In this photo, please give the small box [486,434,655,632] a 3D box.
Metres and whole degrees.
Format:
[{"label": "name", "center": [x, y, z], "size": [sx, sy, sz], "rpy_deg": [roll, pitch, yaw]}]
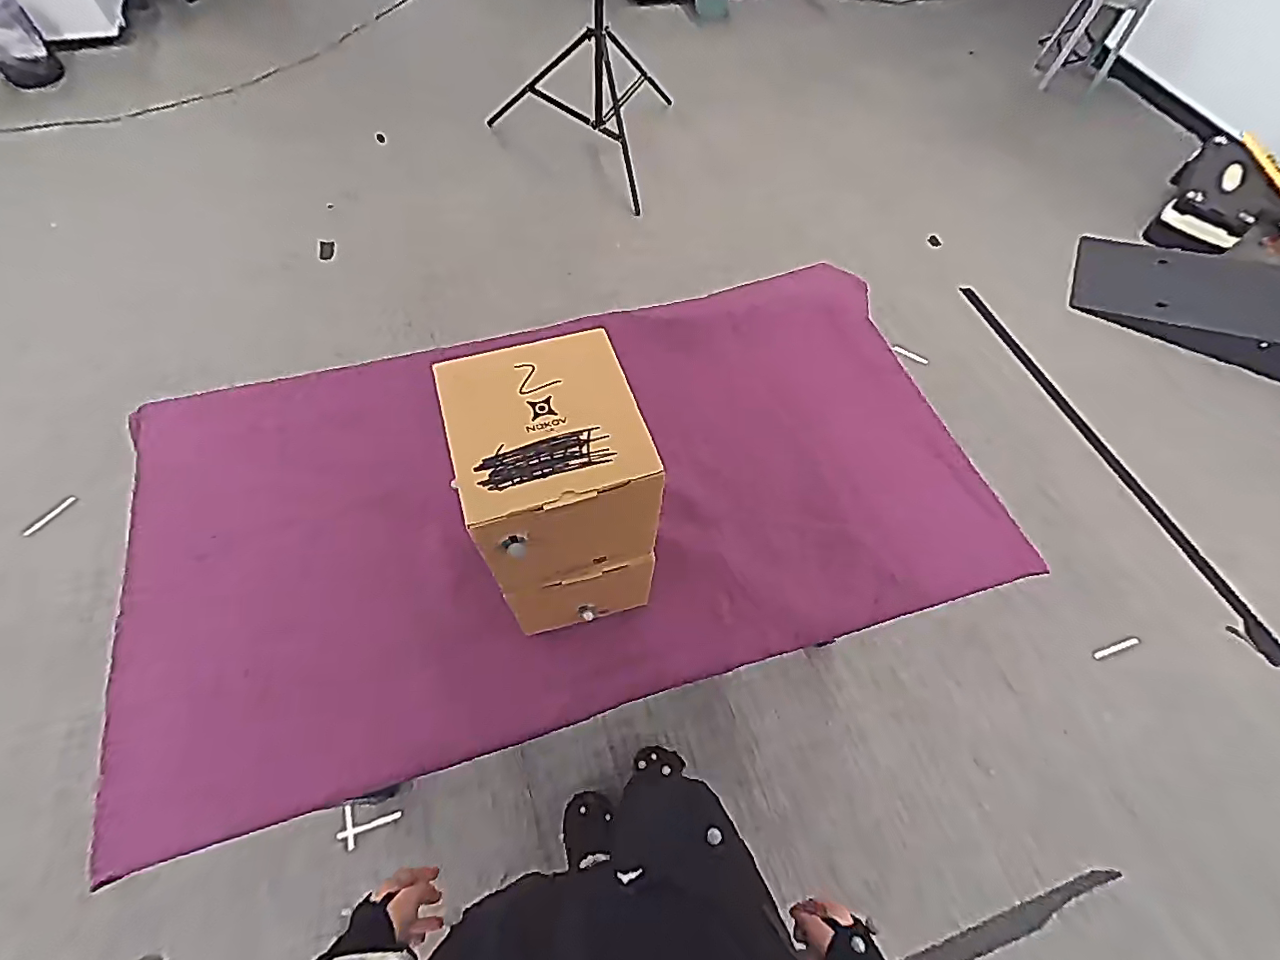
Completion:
[{"label": "small box", "center": [-0.088, 0.071, 0.685], "size": [0.168, 0.176, 0.179], "rpy_deg": [-13, 62, -10]}]
